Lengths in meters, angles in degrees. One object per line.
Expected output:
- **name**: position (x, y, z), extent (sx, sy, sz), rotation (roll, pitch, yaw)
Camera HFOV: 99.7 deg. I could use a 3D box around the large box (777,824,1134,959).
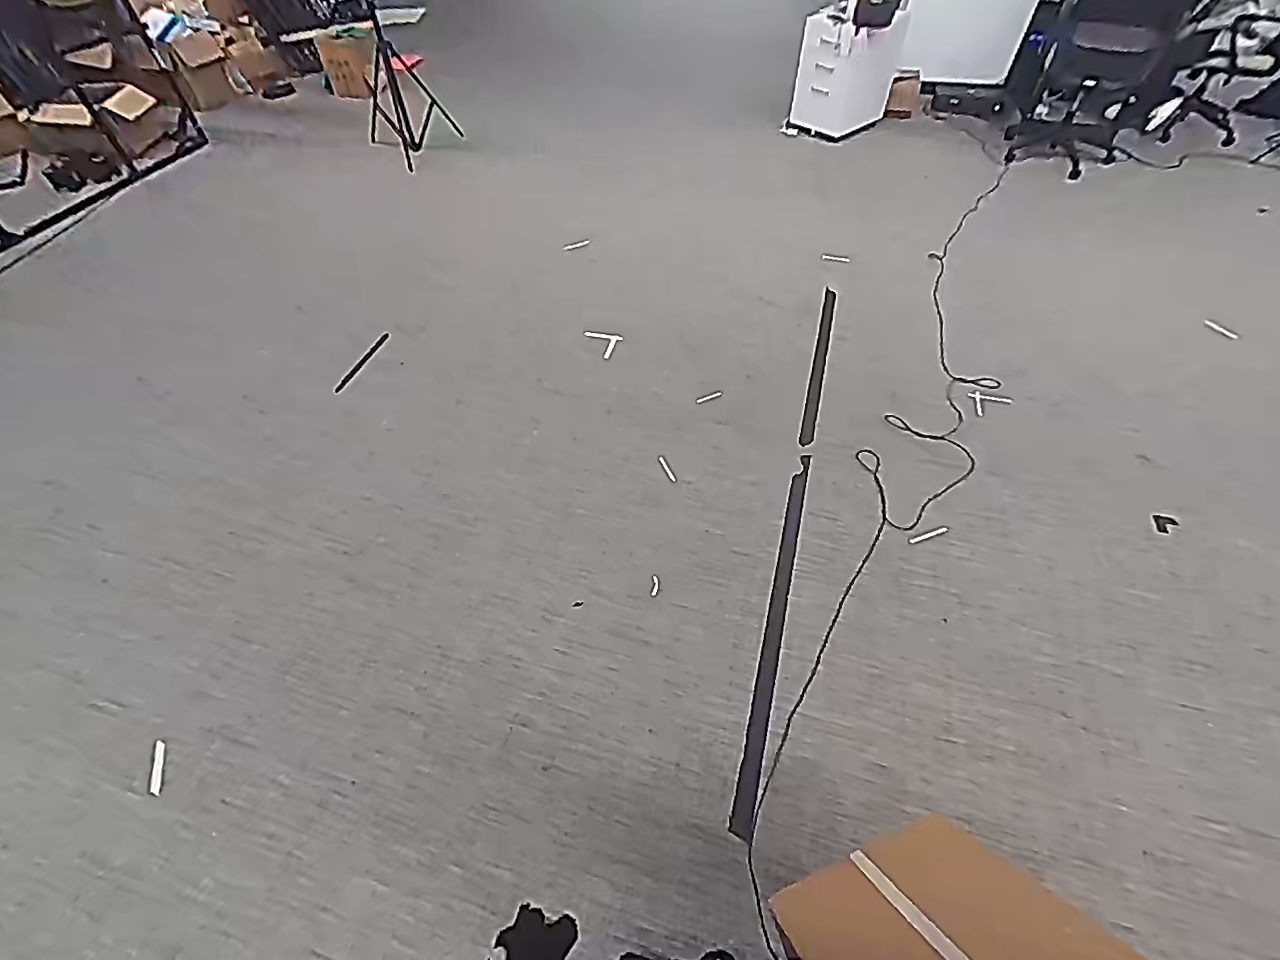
- **large box**: position (0.423, 0.716, 0.641), extent (0.320, 0.408, 0.320), rotation (-20, 87, -10)
